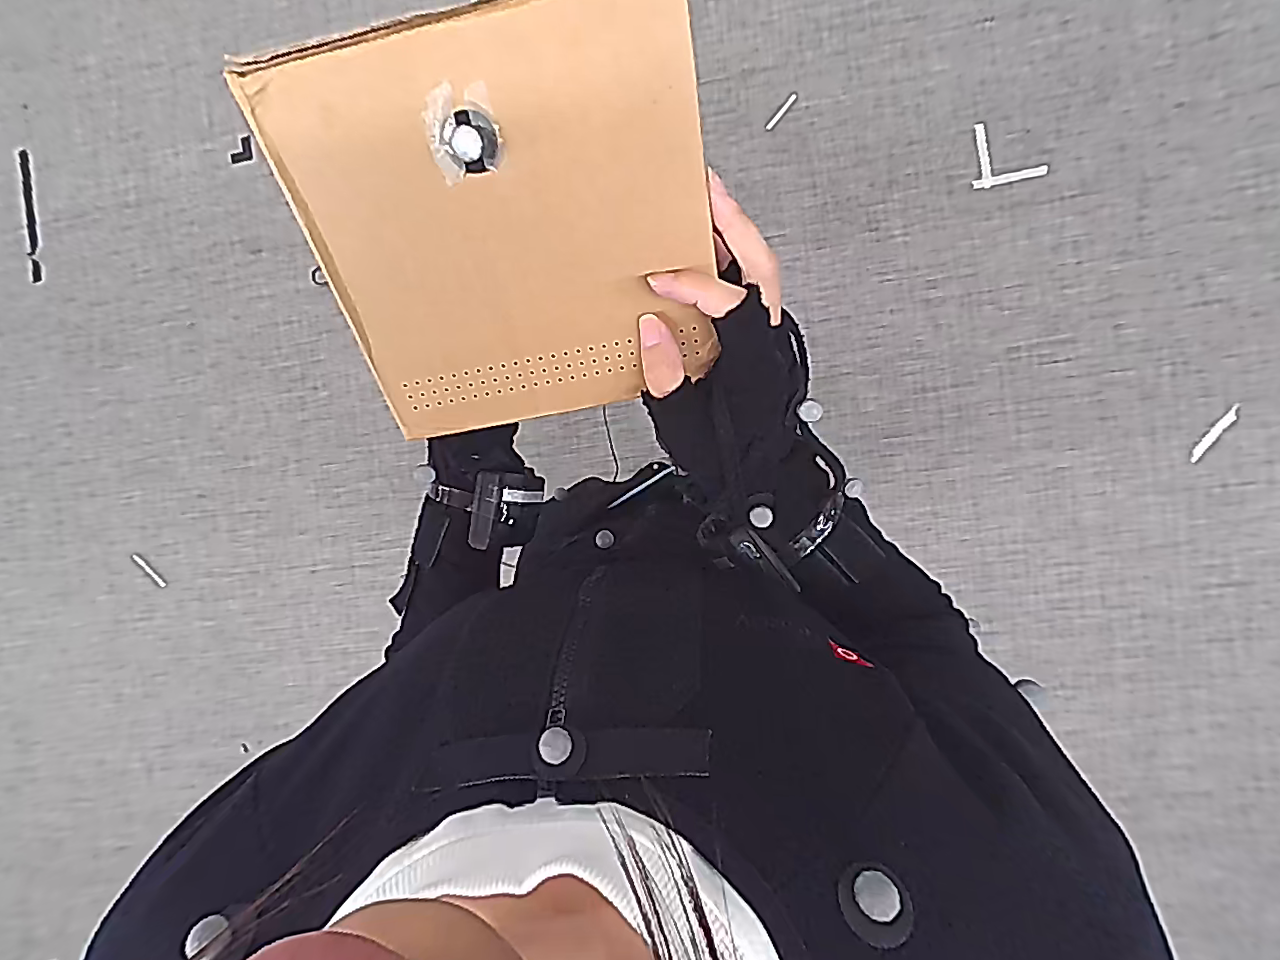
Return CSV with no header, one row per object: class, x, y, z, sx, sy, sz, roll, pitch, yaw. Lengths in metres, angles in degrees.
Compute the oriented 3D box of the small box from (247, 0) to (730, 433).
small box,-0.054,-0.142,0.309,0.179,0.168,0.176,-10,125,5
